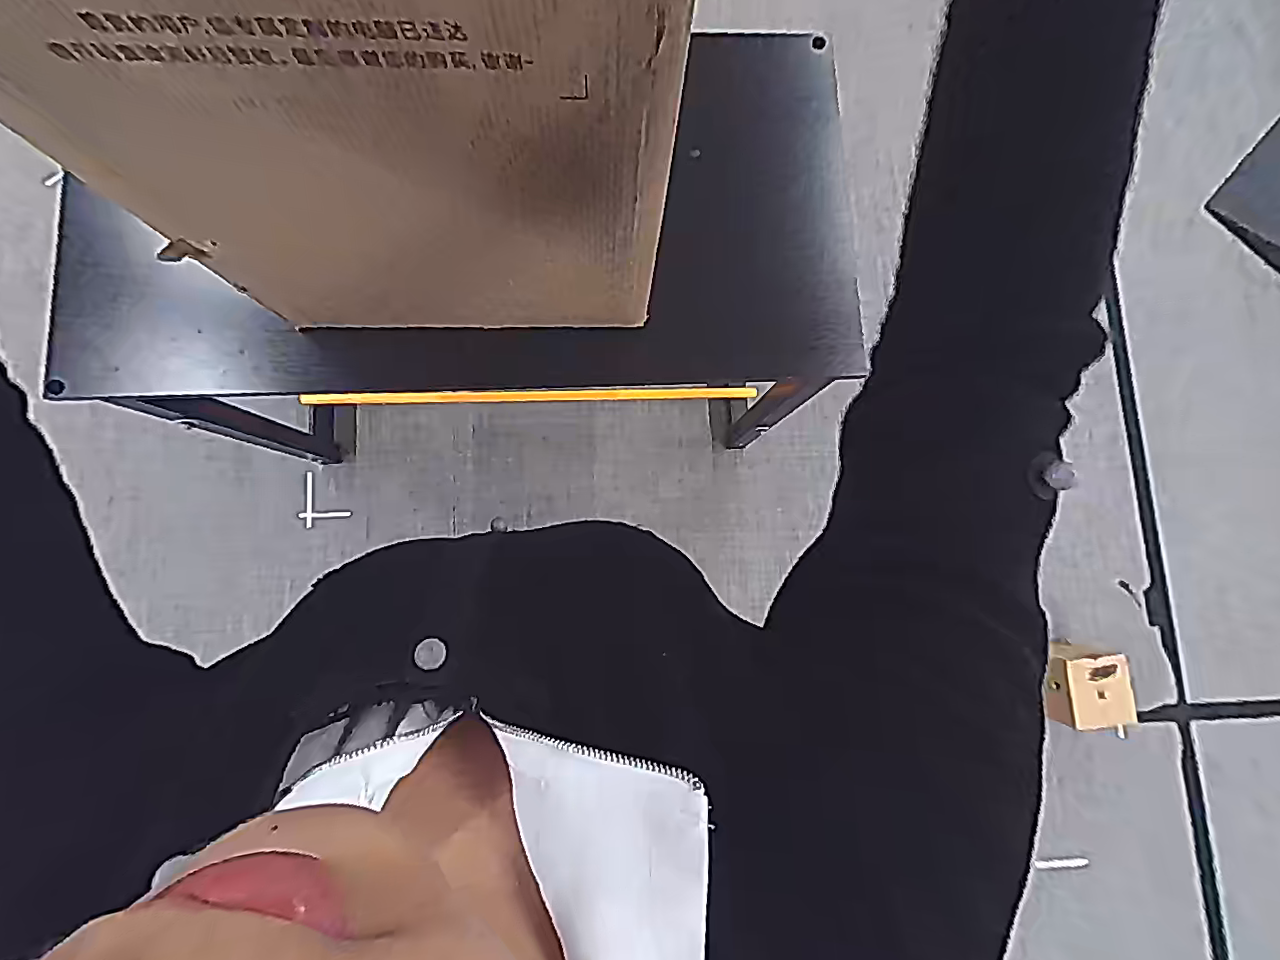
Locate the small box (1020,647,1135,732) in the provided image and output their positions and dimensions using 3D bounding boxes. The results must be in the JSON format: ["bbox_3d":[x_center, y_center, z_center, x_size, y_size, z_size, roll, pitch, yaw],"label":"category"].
[{"bbox_3d":[1.165,0.554,1.455,0.168,0.176,0.179,-5,84,-4],"label":"small box"}]
